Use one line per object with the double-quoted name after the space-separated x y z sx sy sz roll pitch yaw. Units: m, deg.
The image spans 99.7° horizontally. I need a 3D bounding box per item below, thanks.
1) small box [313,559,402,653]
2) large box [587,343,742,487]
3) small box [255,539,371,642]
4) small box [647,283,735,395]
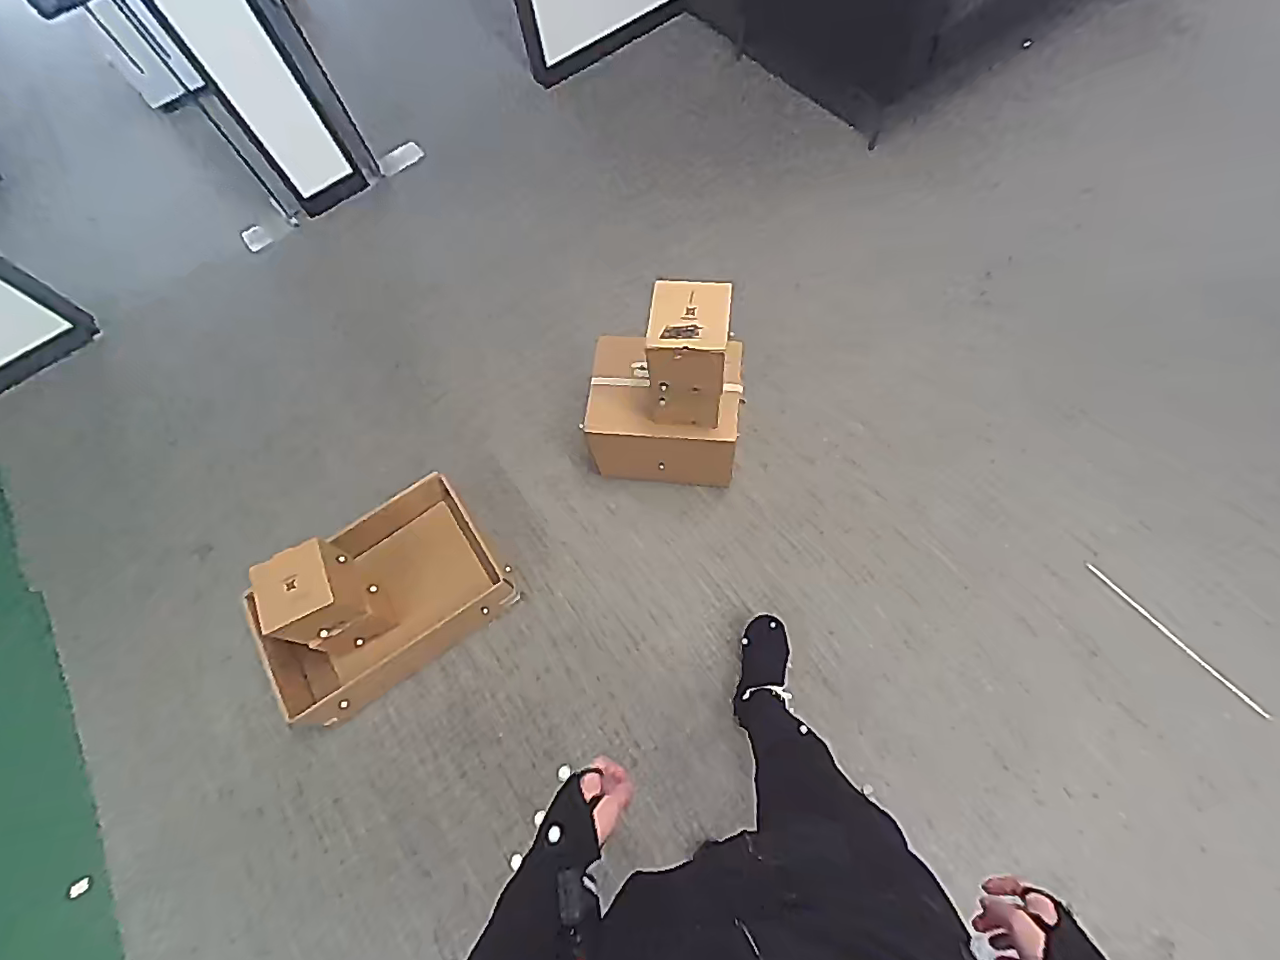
-0.780 0.347 1.466 0.168 0.176 0.179 -29 68 -11 "small box"
0.089 -0.181 1.586 0.408 0.320 0.320 4 66 9 "large box"
-0.791 0.274 1.320 0.168 0.176 0.179 -26 67 -8 "small box"
0.116 -0.304 1.187 0.168 0.176 0.179 5 67 8 "small box"
